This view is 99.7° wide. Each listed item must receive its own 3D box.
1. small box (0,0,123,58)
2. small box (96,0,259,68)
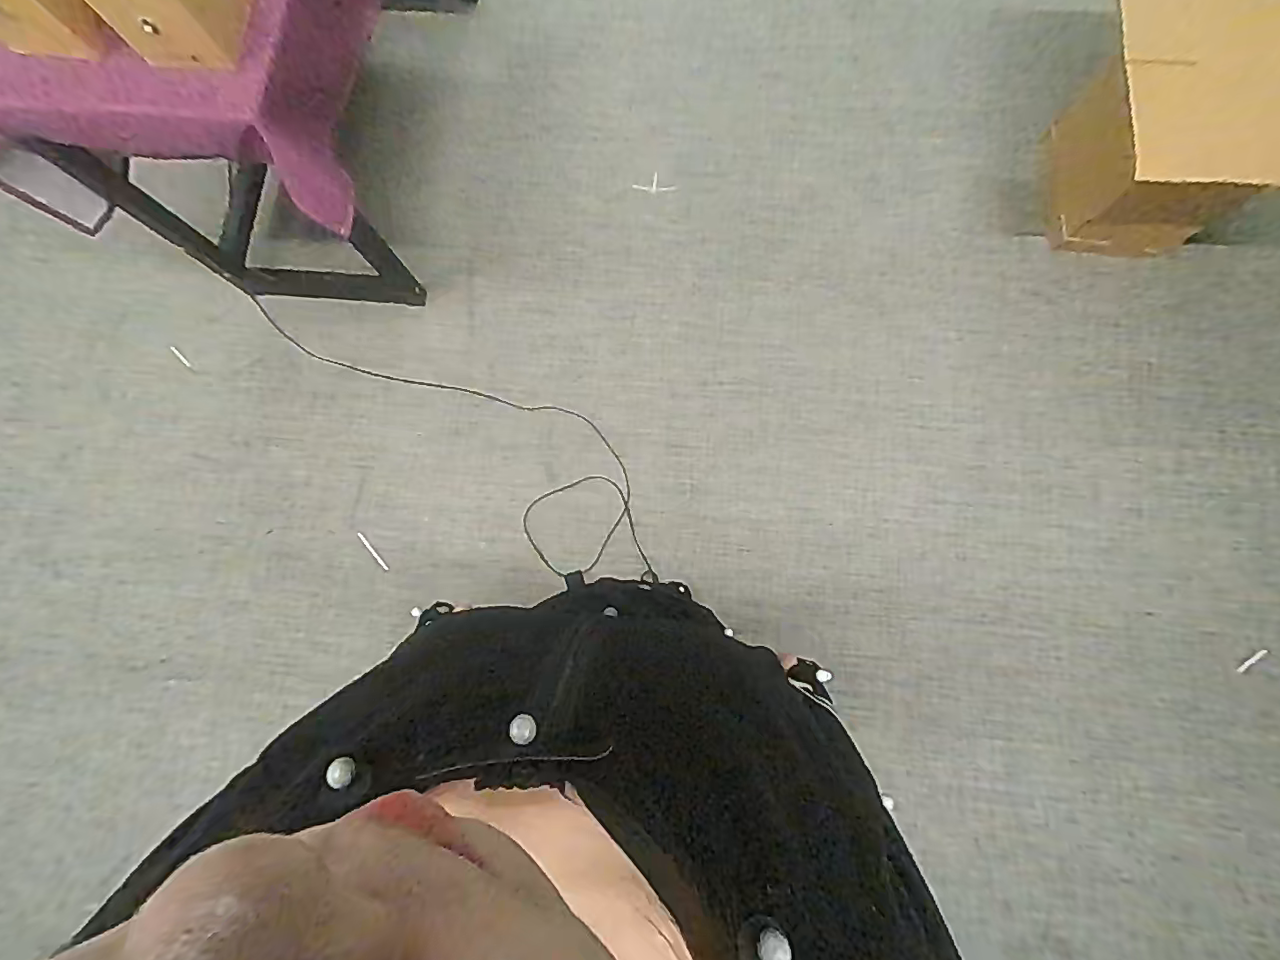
[{"bbox_3d":[-1.045,-0.870,0.928,0.179,0.176,0.168,6,80,4],"label":"small box"},{"bbox_3d":[-0.789,-0.840,0.912,0.168,0.176,0.179,5,80,3],"label":"small box"}]
